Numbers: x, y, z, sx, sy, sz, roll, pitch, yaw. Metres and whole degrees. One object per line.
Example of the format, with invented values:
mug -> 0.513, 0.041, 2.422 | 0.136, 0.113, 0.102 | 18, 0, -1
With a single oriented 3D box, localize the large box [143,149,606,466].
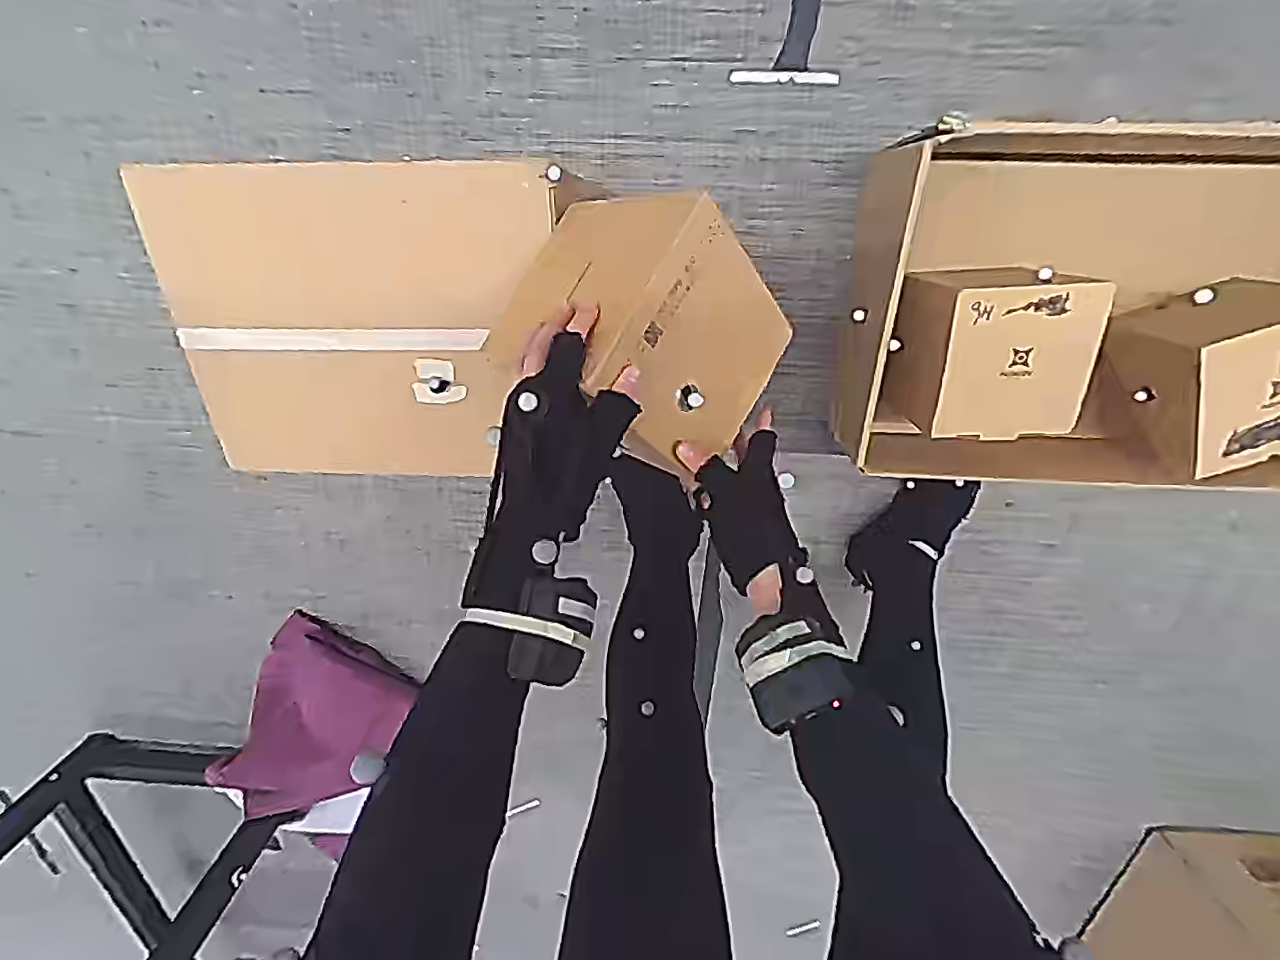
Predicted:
large box -> -0.263, -0.220, 0.693 | 0.408, 0.320, 0.320 | 0, 116, 3

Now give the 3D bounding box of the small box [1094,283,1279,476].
small box -> 0.728, -0.134, 0.694 | 0.168, 0.176, 0.179 | -17, 113, 13
